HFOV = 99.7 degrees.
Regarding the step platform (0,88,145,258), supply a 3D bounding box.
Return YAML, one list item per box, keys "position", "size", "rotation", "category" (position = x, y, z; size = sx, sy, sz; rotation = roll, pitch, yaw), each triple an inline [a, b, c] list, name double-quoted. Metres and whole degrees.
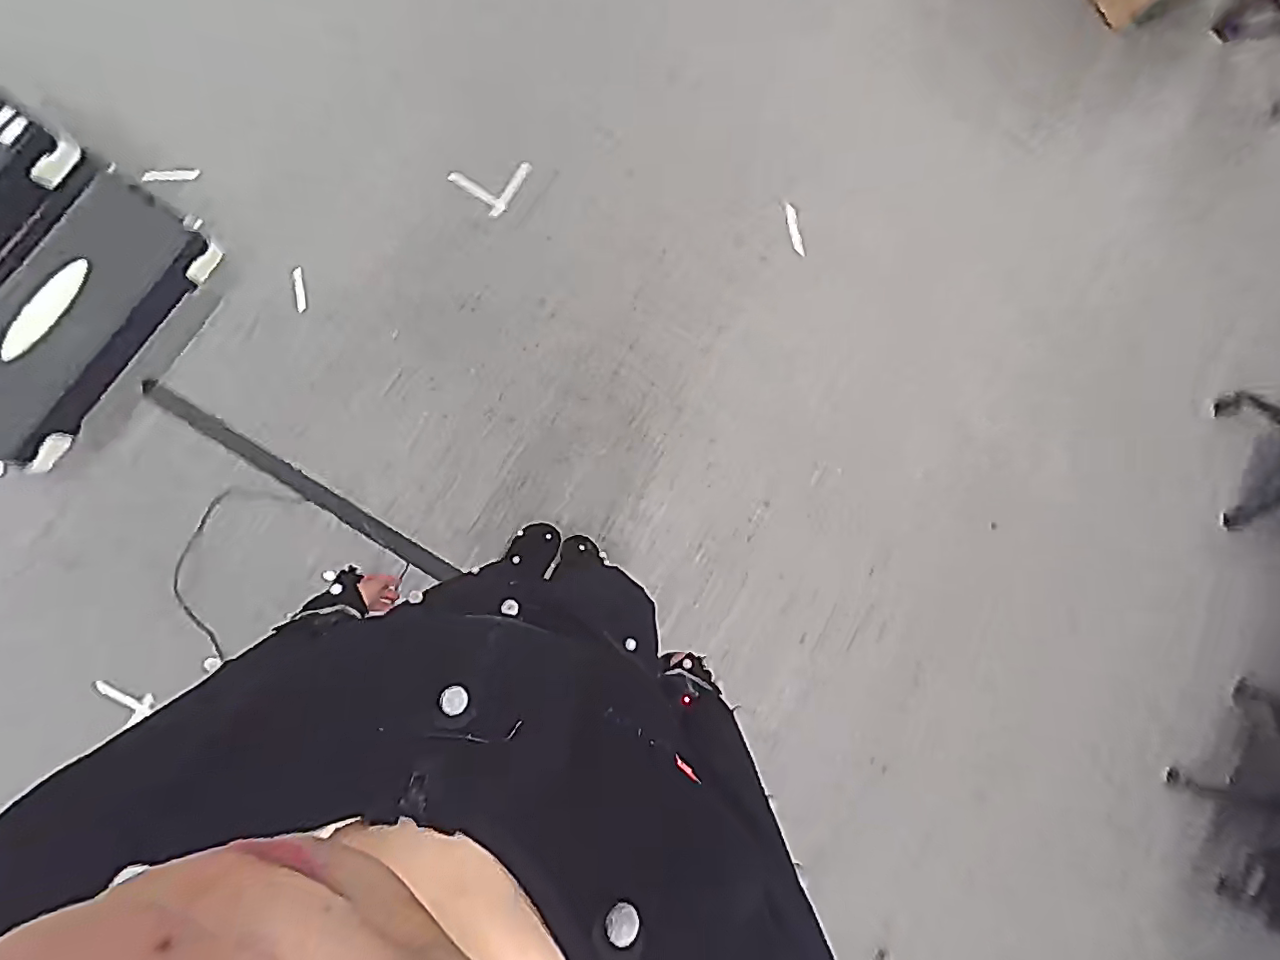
- position: [-1.478, -0.506, 1.161]
  size: [0.286, 0.204, 0.684]
  rotation: [38, 80, -4]
  category: "step platform"
